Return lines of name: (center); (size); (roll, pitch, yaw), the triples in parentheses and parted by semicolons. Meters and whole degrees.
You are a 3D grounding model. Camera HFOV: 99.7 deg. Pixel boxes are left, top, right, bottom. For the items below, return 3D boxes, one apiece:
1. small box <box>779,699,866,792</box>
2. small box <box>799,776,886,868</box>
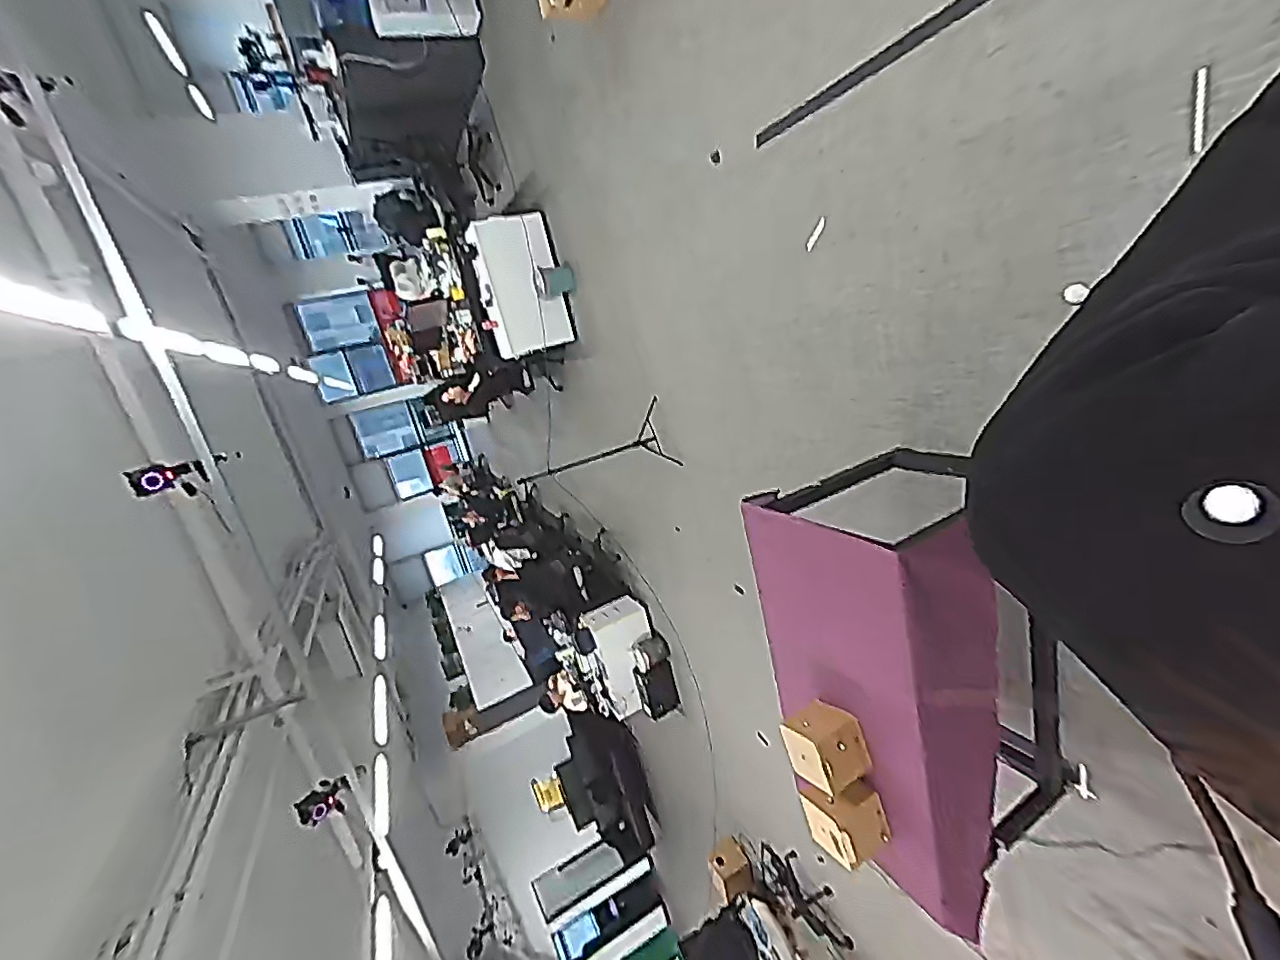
small box: (0.562, 0.799, 1.650); (0.179, 0.176, 0.168); (-10, 99, 68)
small box: (0.635, 1.038, 1.681); (0.179, 0.176, 0.168); (-7, 102, 68)
